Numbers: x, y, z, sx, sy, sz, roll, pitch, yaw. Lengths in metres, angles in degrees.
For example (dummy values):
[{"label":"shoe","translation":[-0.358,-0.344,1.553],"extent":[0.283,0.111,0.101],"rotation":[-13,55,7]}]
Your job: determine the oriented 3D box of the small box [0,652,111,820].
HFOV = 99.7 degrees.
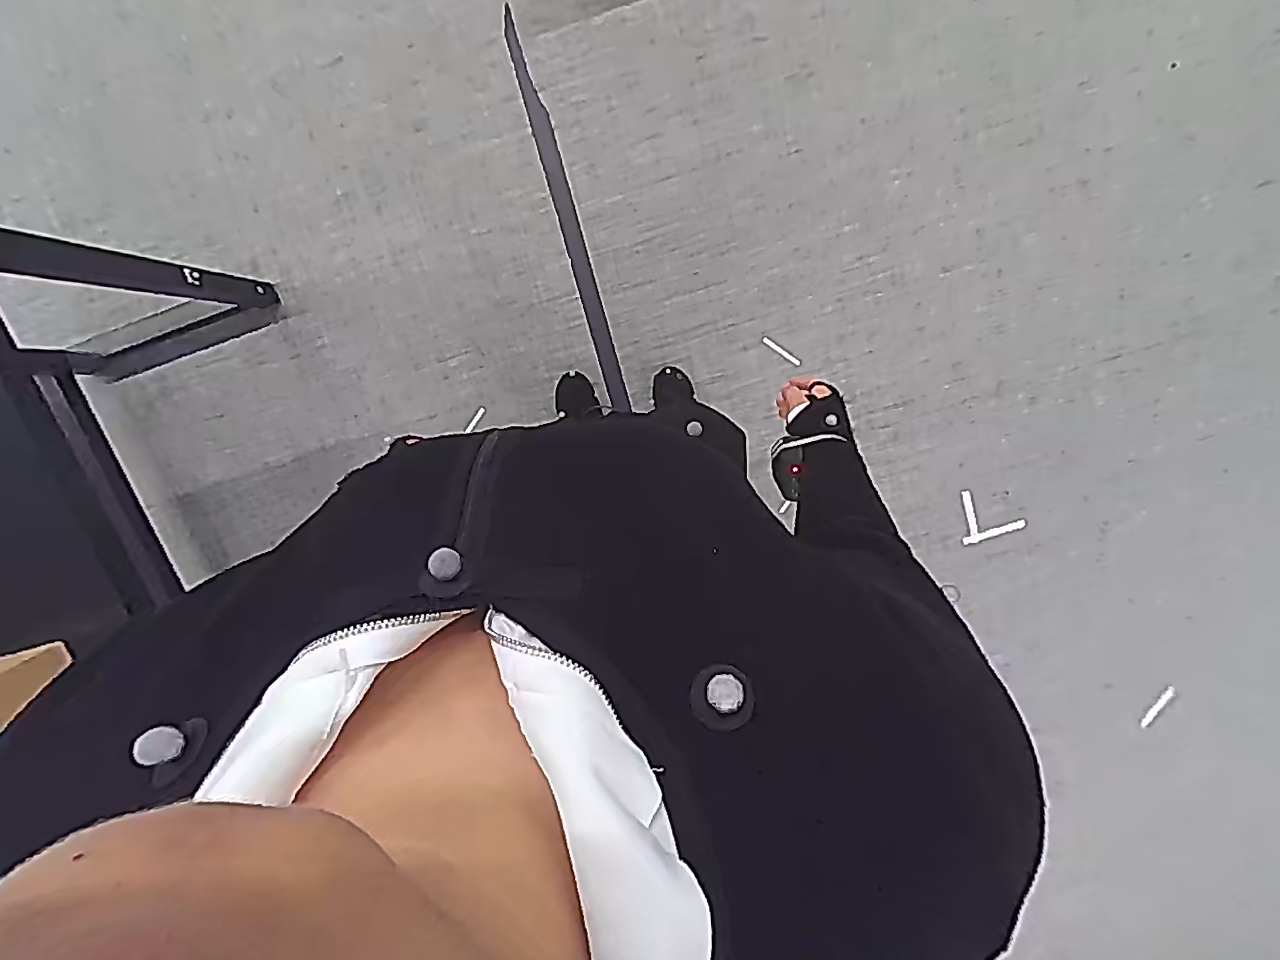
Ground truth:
[{"label":"small box","translation":[-0.916,0.360,0.750],"extent":[0.168,0.176,0.179],"rotation":[-15,102,4]}]
